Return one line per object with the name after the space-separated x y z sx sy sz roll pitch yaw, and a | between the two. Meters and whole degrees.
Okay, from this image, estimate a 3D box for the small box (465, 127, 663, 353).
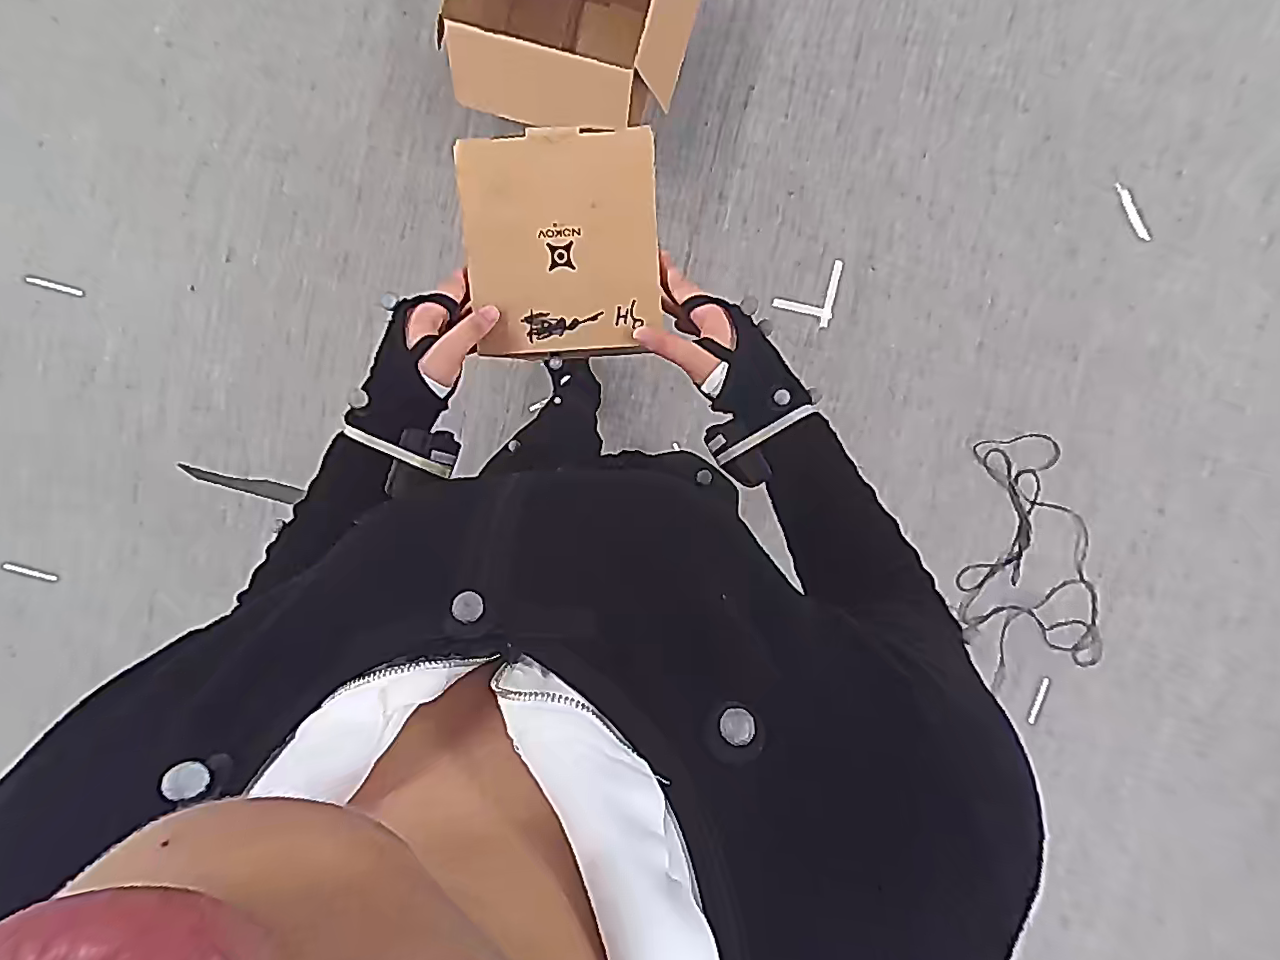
-0.063 -0.223 0.546 0.168 0.176 0.179 -2 102 2 | small box
